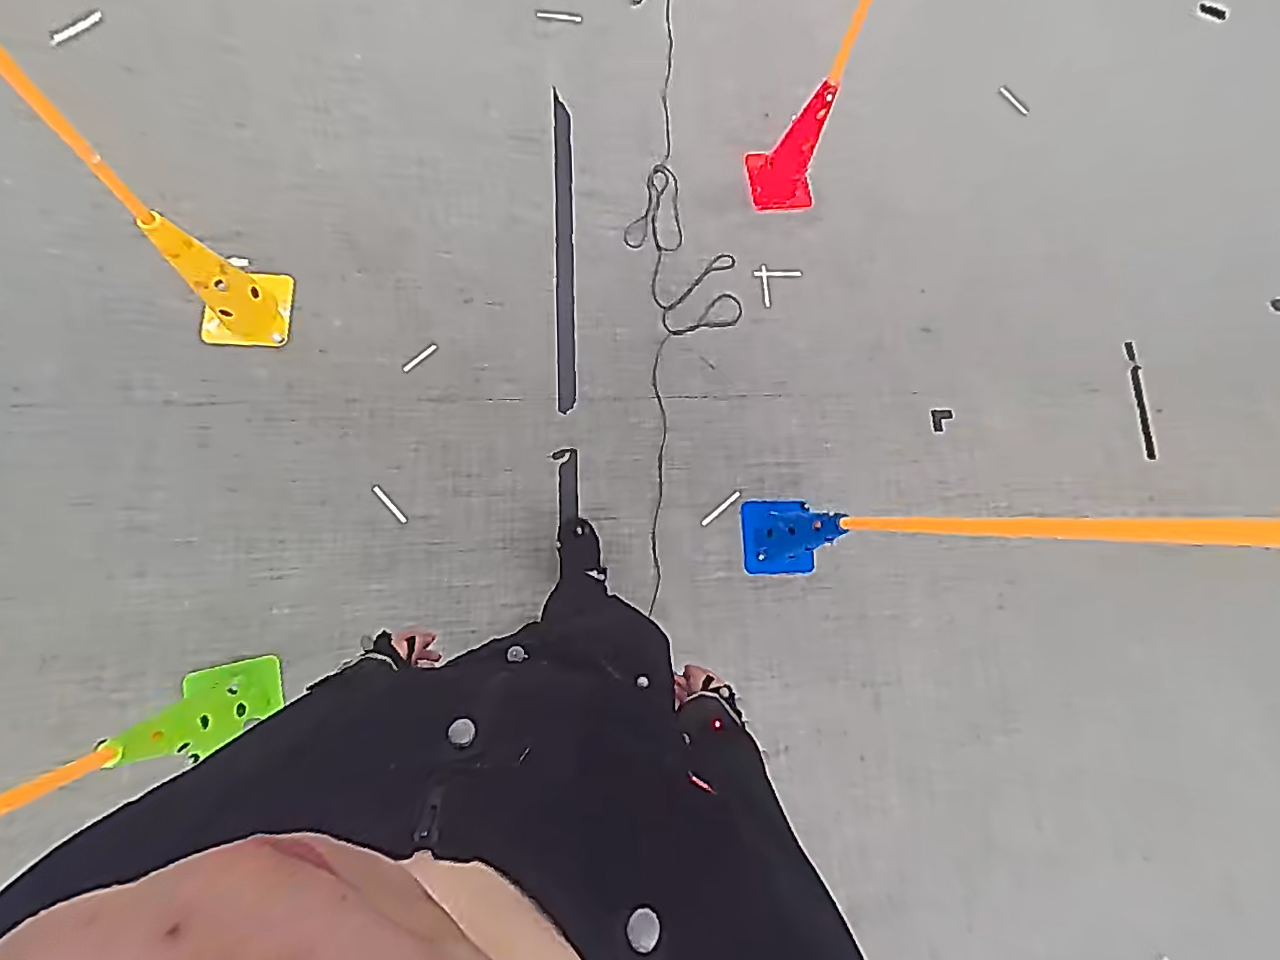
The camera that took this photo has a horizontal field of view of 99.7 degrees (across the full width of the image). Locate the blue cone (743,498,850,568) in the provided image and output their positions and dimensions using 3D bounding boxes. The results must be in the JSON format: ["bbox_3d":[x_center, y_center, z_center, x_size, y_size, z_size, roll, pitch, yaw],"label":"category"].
[{"bbox_3d":[0.402,0.112,1.318,0.193,0.380,0.192,2,78,-8],"label":"blue cone"}]

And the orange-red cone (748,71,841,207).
[{"bbox_3d":[0.466,-0.977,1.528,0.199,0.360,0.198,-6,79,-8],"label":"orange-red cone"}]

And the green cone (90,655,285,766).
[{"bbox_3d":[-0.885,0.475,1.042,0.200,0.368,0.202,-12,79,-11],"label":"green cone"}]
